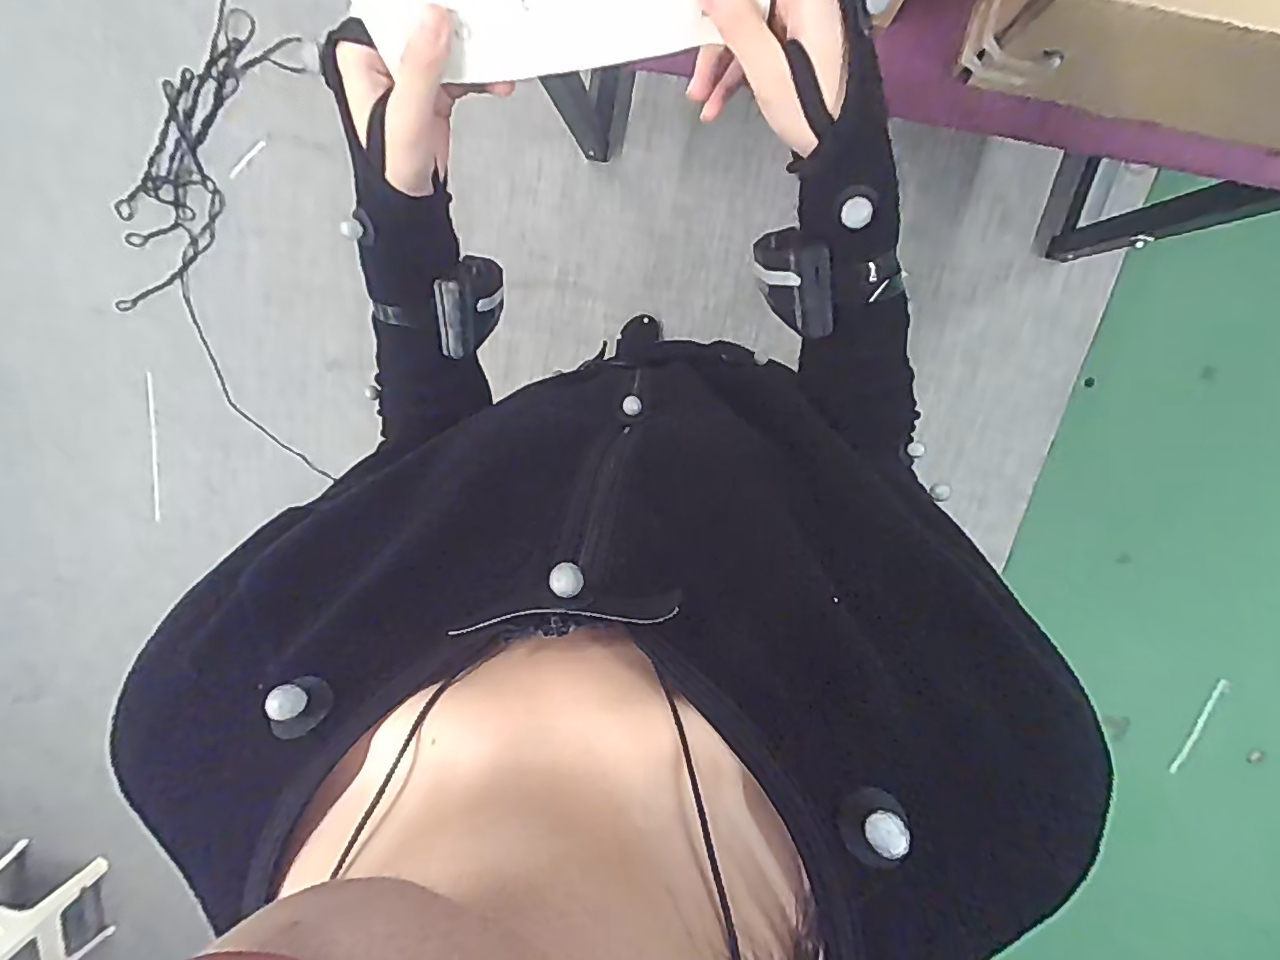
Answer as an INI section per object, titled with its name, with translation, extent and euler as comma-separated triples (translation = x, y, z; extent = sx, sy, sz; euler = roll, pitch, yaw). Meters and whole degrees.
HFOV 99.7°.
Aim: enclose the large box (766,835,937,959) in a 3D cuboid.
[large box]
translation = 0.599, 1.314, 1.604
extent = 0.408, 0.320, 0.320
euler = -2, 103, 5
